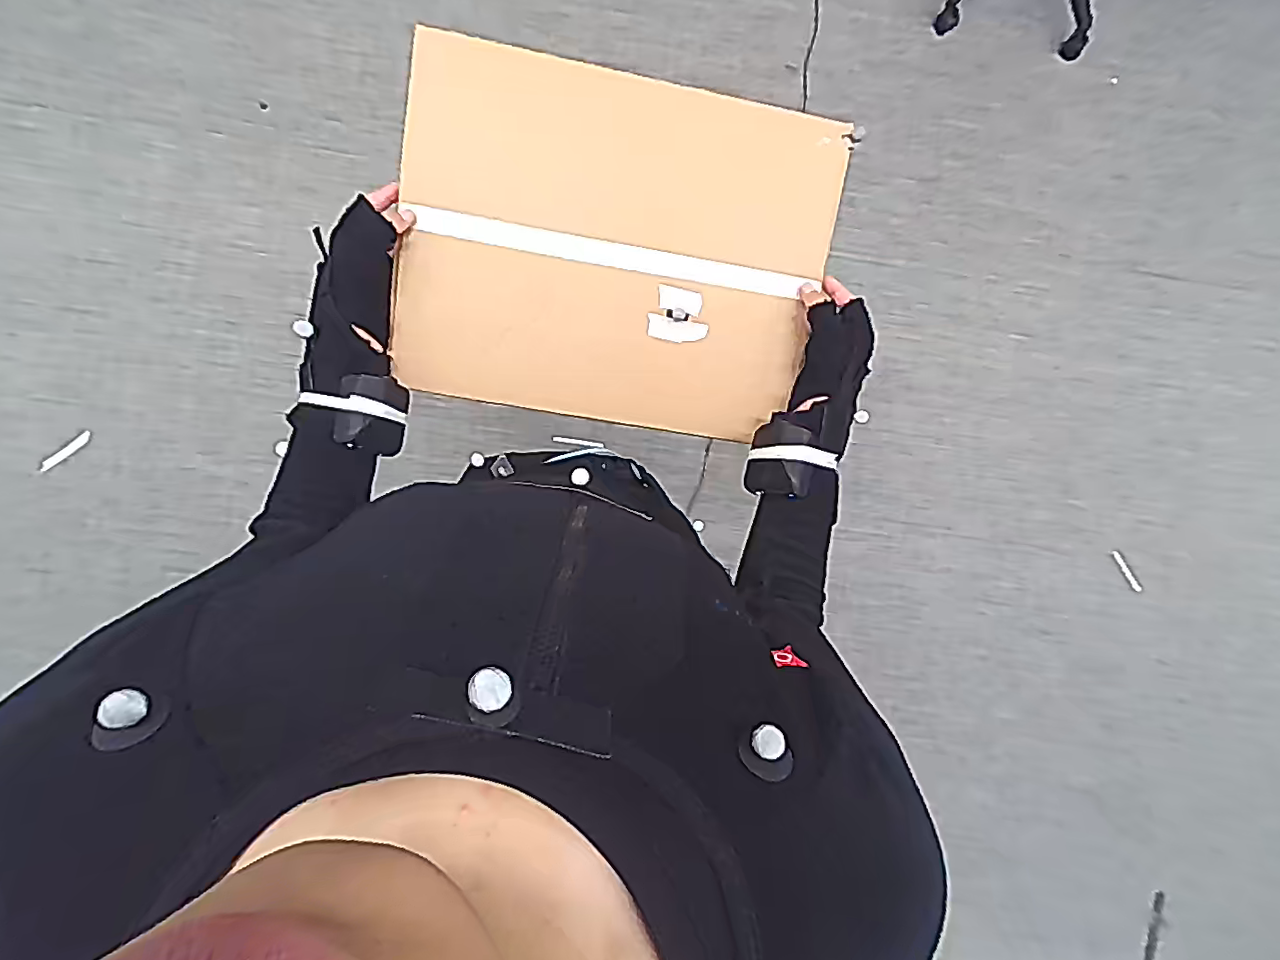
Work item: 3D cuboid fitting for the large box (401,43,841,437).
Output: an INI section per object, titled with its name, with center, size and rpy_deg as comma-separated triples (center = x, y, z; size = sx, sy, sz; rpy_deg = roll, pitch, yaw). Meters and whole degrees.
[large box]
center = -0.034, -0.246, 0.676
size = 0.408, 0.320, 0.320
rpy_deg = 9, 100, -7
